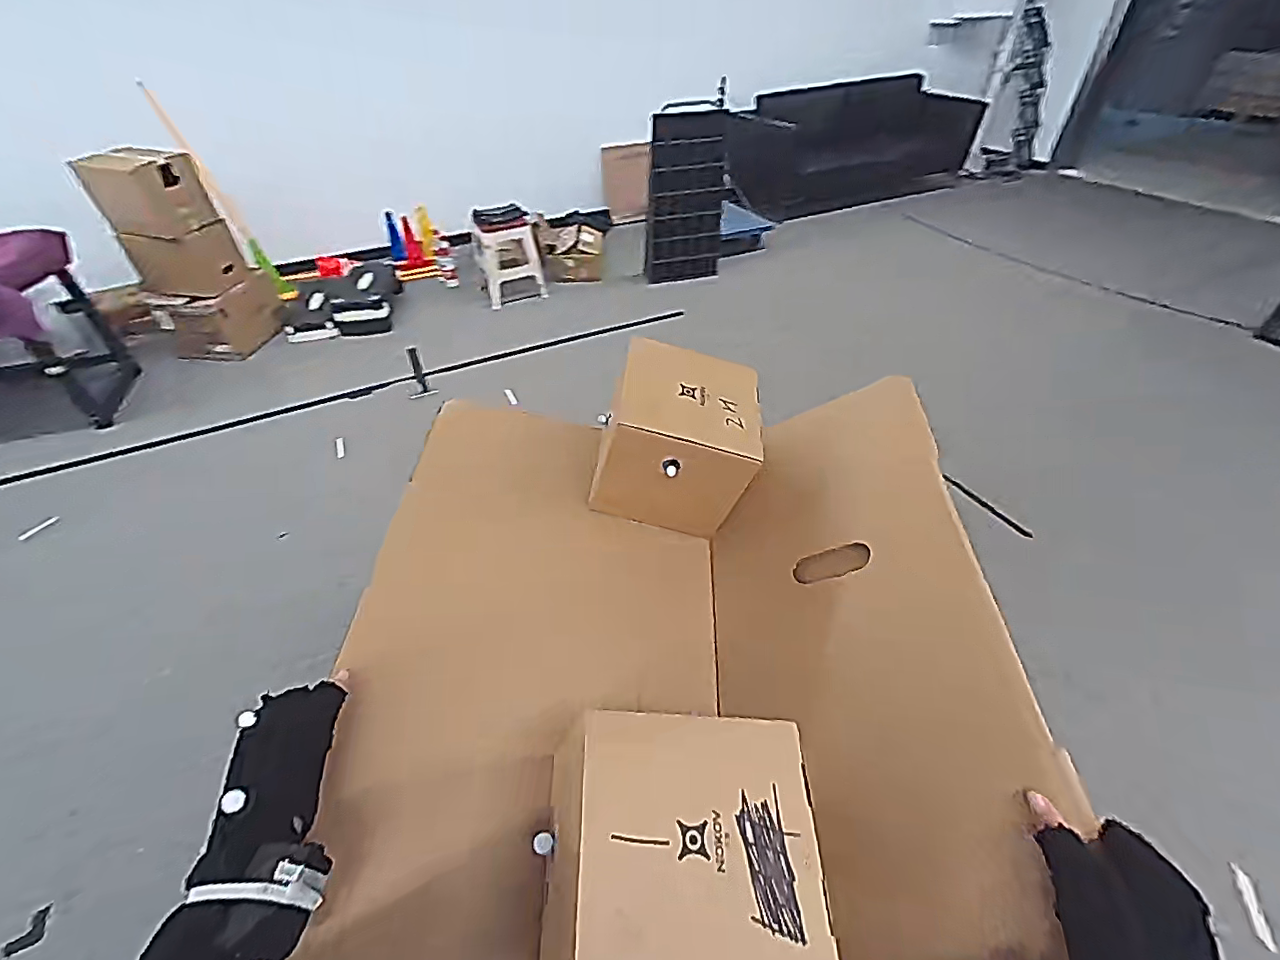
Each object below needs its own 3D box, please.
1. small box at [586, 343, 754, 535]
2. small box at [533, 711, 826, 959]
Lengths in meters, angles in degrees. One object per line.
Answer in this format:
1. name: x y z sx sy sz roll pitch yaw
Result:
1. small box: 0.034 -0.047 0.717 0.179 0.176 0.168 15 49 -9
2. small box: 0.017 0.298 0.436 0.179 0.176 0.168 8 51 -12
